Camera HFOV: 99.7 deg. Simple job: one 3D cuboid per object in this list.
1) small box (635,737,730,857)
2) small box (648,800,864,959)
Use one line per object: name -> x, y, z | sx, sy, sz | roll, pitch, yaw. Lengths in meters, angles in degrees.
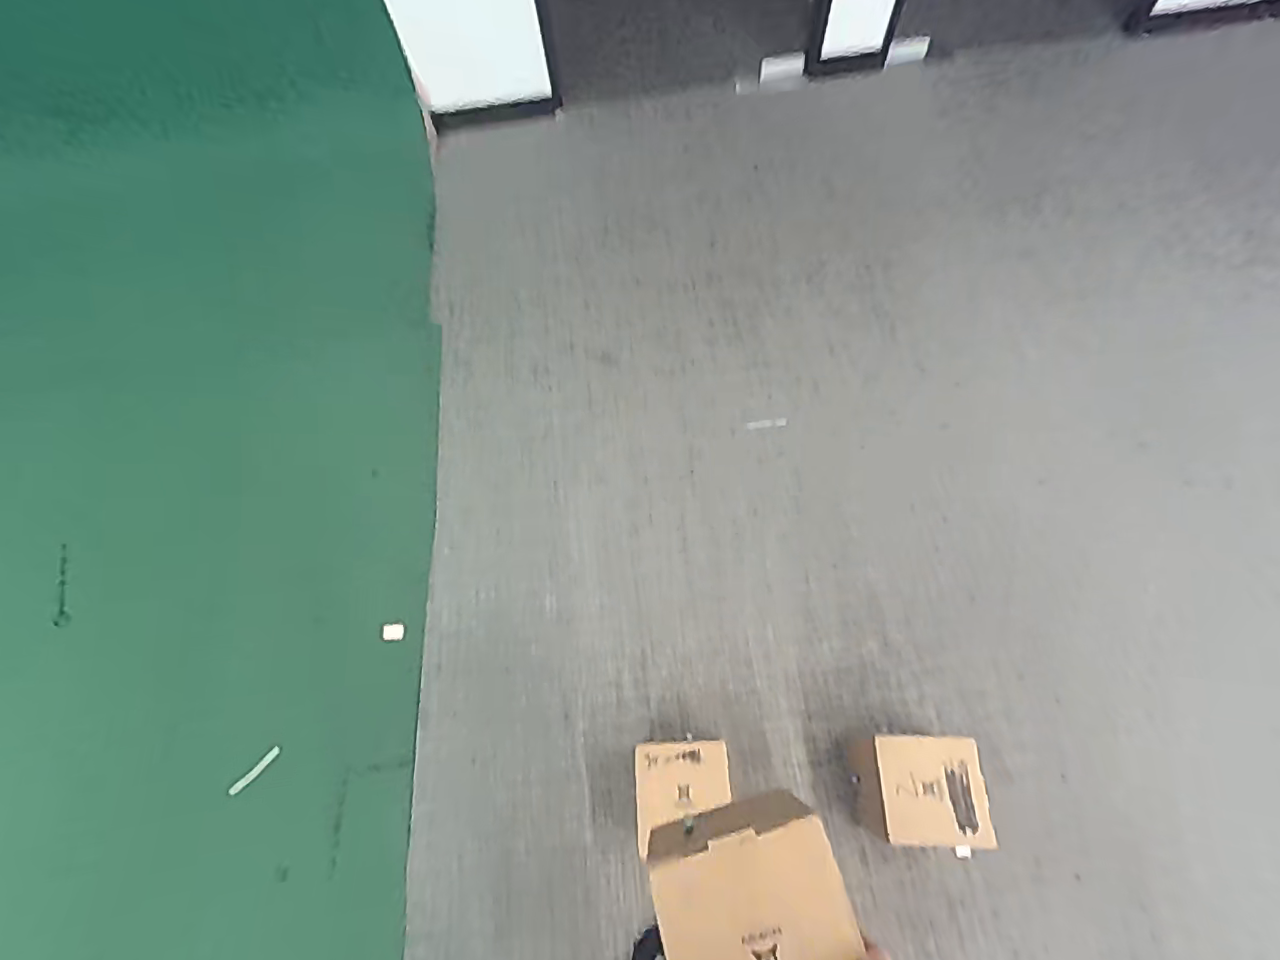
small box -> 0.081, 0.588, 1.020 | 0.168, 0.176, 0.179 | -3, 66, 2
small box -> 0.109, 0.436, 0.531 | 0.168, 0.176, 0.179 | -16, 69, -2
